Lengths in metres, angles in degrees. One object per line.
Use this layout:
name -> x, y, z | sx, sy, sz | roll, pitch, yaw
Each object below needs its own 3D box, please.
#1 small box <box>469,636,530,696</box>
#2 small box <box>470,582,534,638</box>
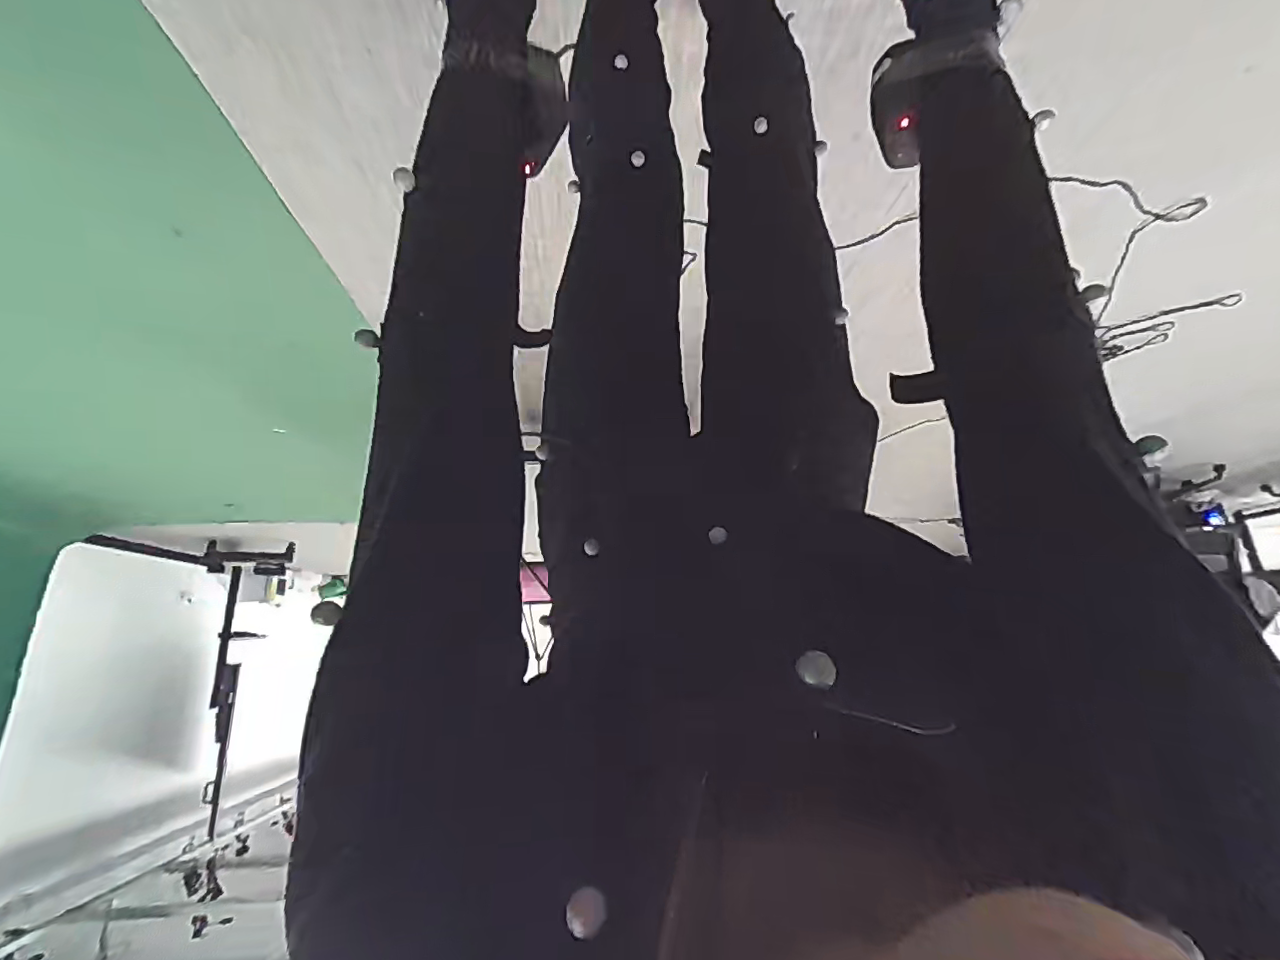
small box -> -0.445, 0.591, 1.734 | 0.168, 0.176, 0.179 | -3, 163, -4
small box -> -0.448, 0.434, 1.781 | 0.179, 0.176, 0.168 | -2, 162, -3
